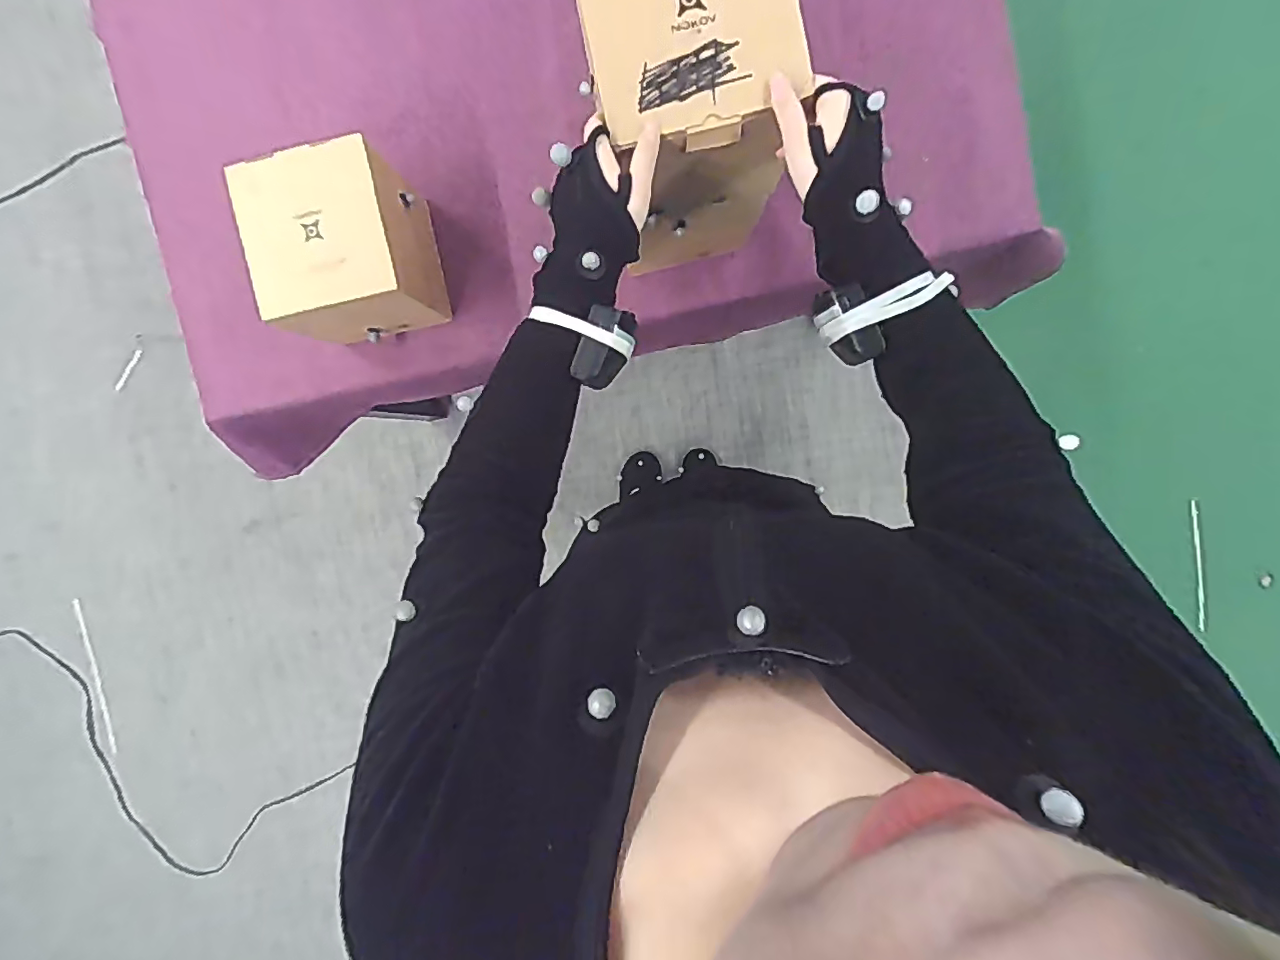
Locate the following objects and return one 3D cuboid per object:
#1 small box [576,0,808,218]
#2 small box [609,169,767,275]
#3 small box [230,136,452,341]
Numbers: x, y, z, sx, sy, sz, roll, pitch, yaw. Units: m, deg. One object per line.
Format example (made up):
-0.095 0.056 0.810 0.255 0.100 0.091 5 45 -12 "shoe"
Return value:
0.041 -0.367 0.501 0.168 0.176 0.179 -12 94 3 "small box"
0.047 -0.379 0.665 0.168 0.176 0.179 -11 93 5 "small box"
-0.363 -0.291 0.689 0.168 0.176 0.179 -11 95 4 "small box"
